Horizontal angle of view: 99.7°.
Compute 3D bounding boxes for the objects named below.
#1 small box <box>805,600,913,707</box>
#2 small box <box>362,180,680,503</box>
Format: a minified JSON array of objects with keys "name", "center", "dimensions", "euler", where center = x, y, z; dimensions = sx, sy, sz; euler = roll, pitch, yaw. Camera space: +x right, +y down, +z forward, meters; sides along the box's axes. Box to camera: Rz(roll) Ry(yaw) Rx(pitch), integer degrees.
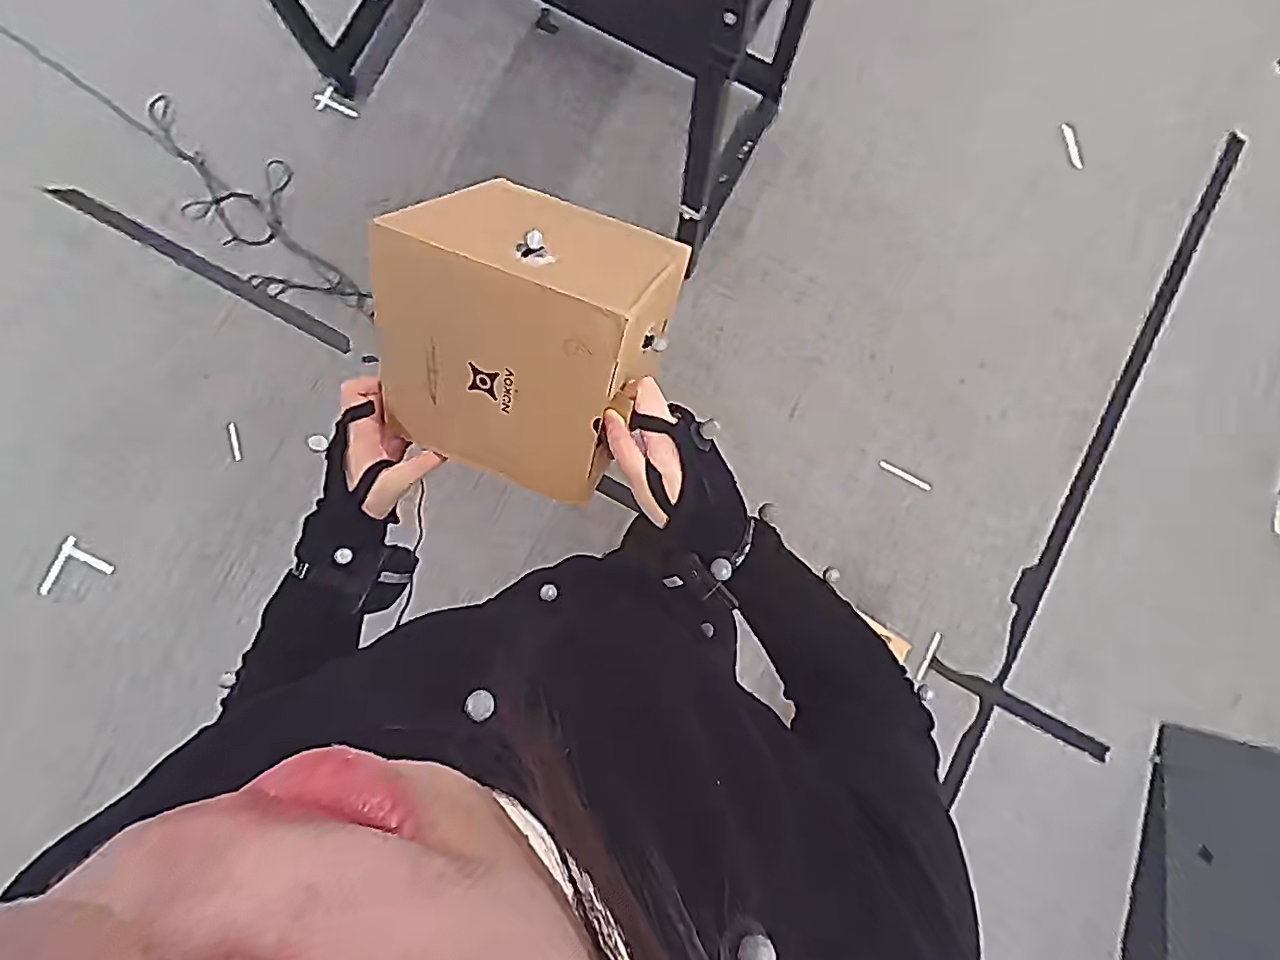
[{"name":"small box","center":[0.543,0.431,1.374],"dimensions":[0.168,0.176,0.179],"euler":[34,88,2]},{"name":"small box","center":[-0.082,-0.117,0.428],"dimensions":[0.179,0.176,0.168],"euler":[21,130,4]}]
